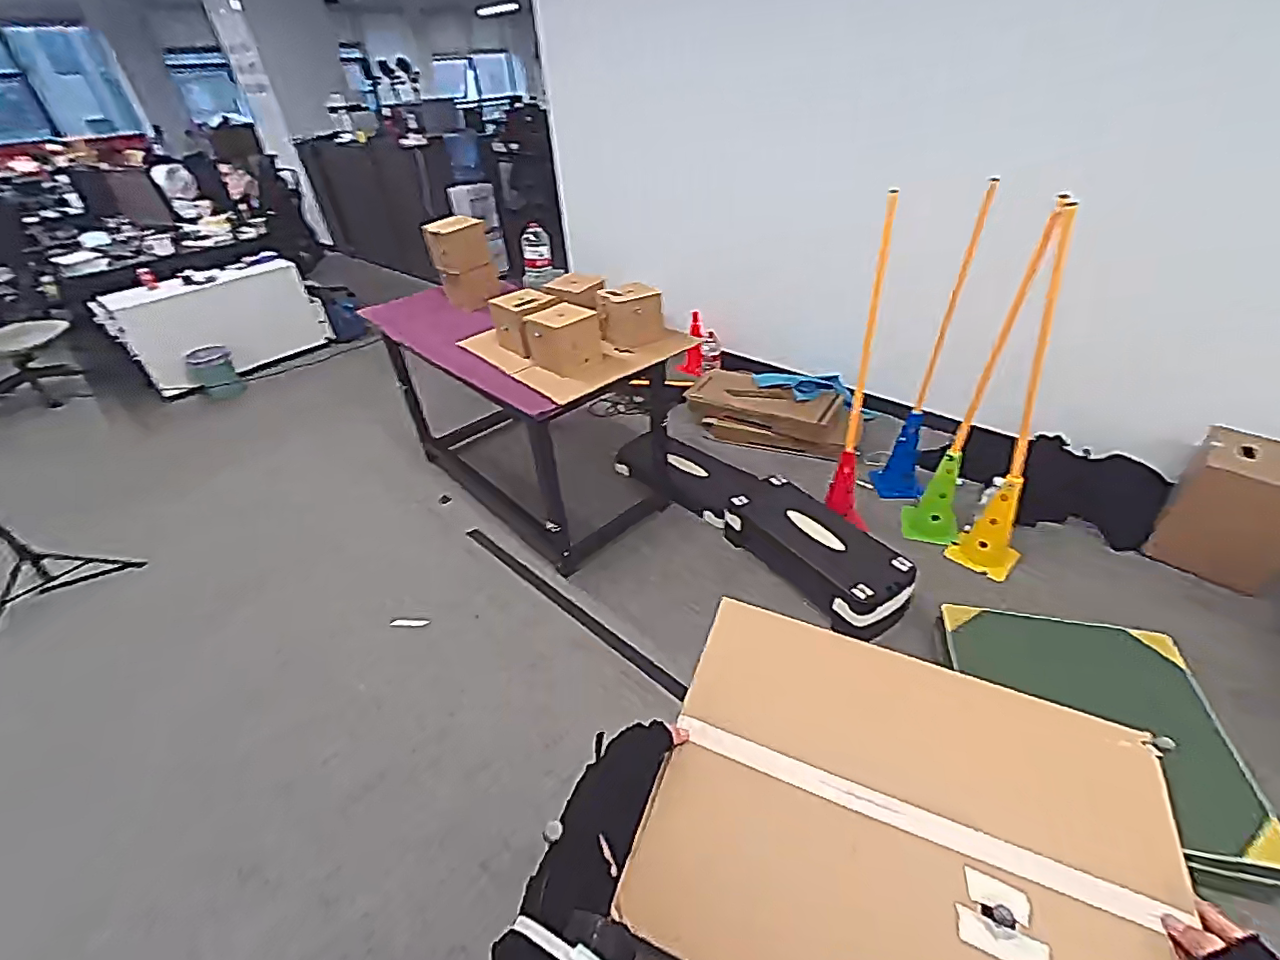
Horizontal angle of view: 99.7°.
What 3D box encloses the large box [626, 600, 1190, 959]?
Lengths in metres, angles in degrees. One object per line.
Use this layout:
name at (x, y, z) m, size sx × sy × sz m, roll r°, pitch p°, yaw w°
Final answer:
large box at (0.226, 0.390, 0.569) m, size 0.408 × 0.320 × 0.320 m, roll 16°, pitch 46°, yaw 17°
